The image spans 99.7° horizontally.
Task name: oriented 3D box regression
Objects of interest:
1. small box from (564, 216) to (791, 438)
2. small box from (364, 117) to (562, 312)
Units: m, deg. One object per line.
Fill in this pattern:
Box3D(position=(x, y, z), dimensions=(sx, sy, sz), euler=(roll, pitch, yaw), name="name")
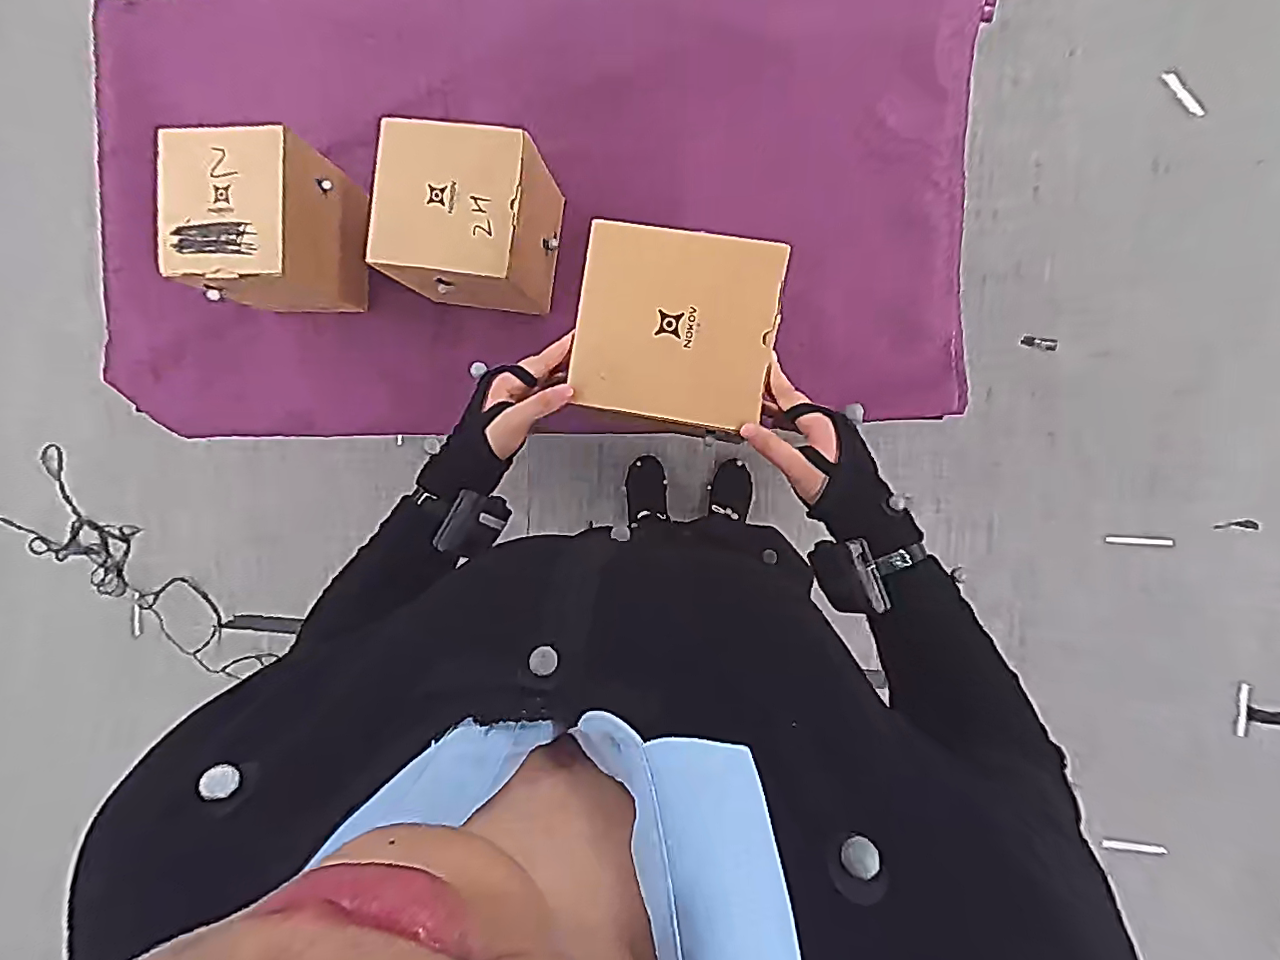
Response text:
Box3D(position=(0.037, -0.138, 0.548), dimensions=(0.179, 0.176, 0.168), euler=(10, 91, 4), name="small box")
Box3D(position=(-0.213, -0.323, 0.690), dimensions=(0.179, 0.176, 0.168), euler=(9, 94, 5), name="small box")
